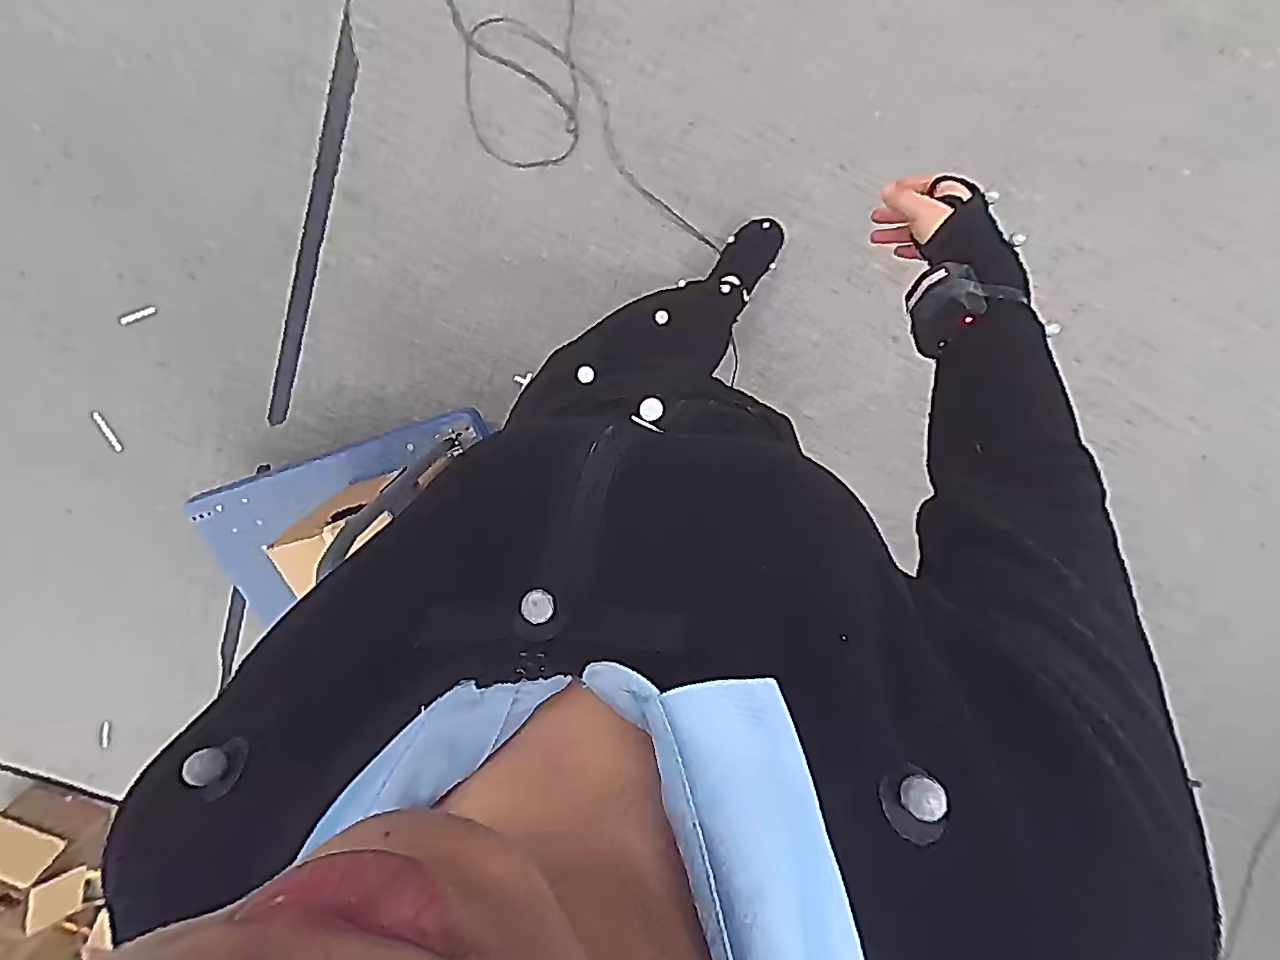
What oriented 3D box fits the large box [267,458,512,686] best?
[{"bbox_3d":[-0.562,0.214,1.305,0.320,0.320,0.408,-16,111,9],"label":"large box"}]
